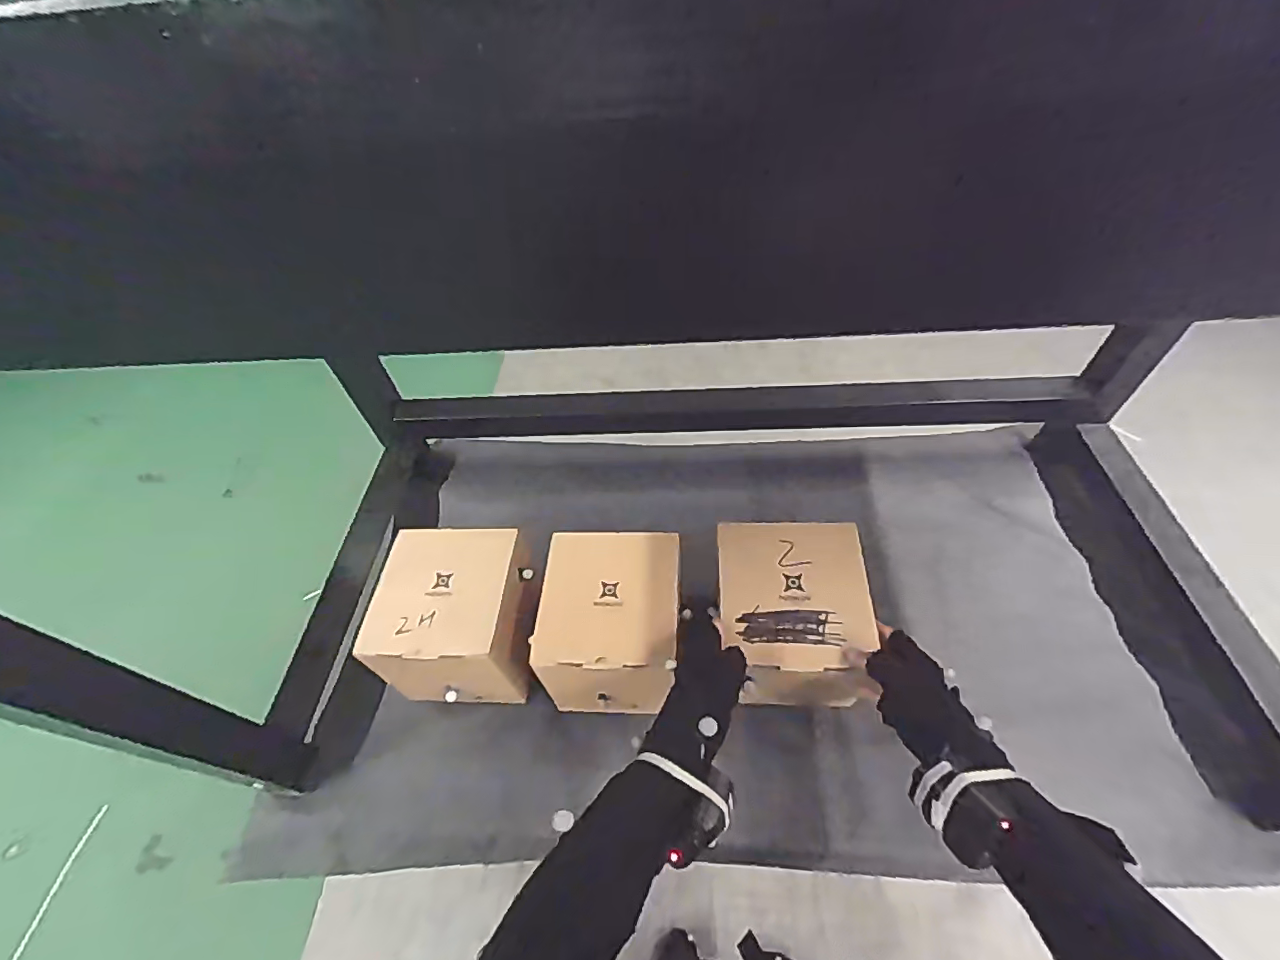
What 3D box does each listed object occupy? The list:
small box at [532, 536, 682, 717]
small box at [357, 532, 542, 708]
[{"bbox_3d":[-0.030,0.191,0.707,0.168,0.176,0.179,0,52,5],"label":"small box"},{"bbox_3d":[-0.237,0.188,0.728,0.168,0.176,0.179,-1,51,5],"label":"small box"}]
